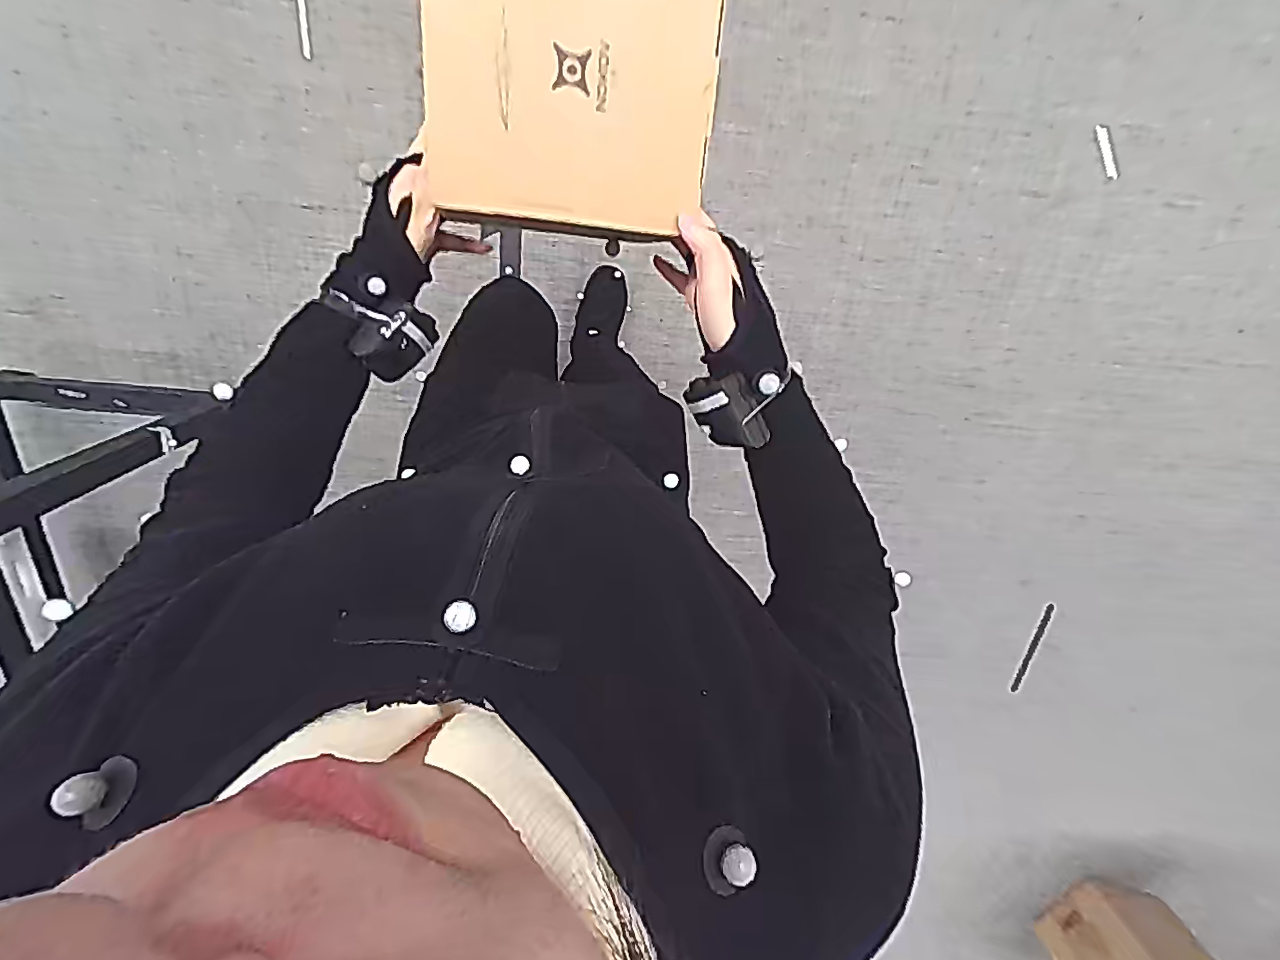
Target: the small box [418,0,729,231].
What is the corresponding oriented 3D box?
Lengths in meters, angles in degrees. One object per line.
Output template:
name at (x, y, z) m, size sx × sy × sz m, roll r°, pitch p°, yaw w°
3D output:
small box at (-0.055, -0.277, 0.381) m, size 0.179 × 0.176 × 0.168 m, roll 1°, pitch 111°, yaw -16°
